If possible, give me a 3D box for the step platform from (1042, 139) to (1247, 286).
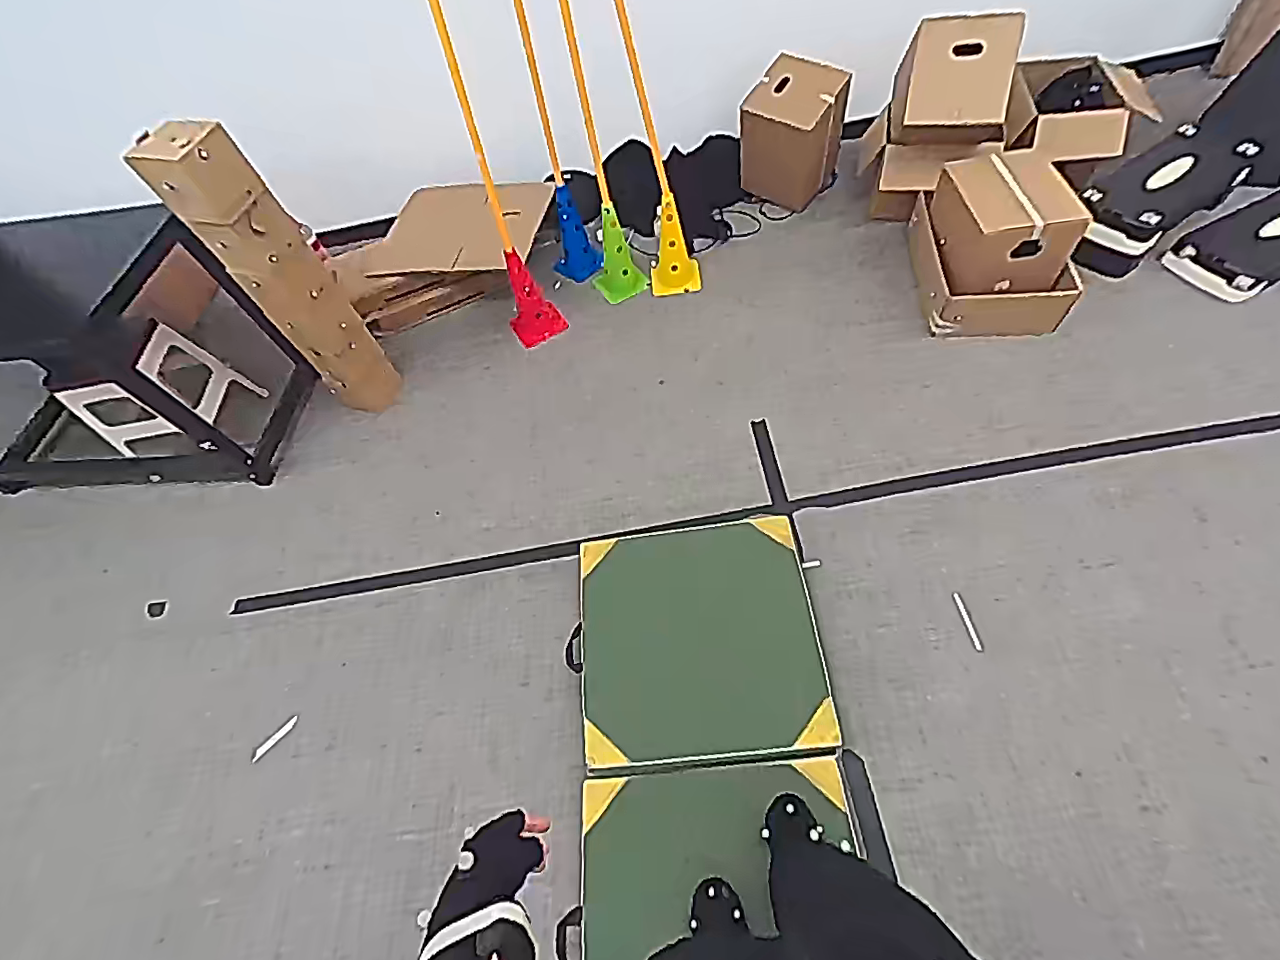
[{"bbox_3d":[1.857,-0.999,1.999,0.684,0.204,0.286,-34,59,-12],"label":"step platform"}]
